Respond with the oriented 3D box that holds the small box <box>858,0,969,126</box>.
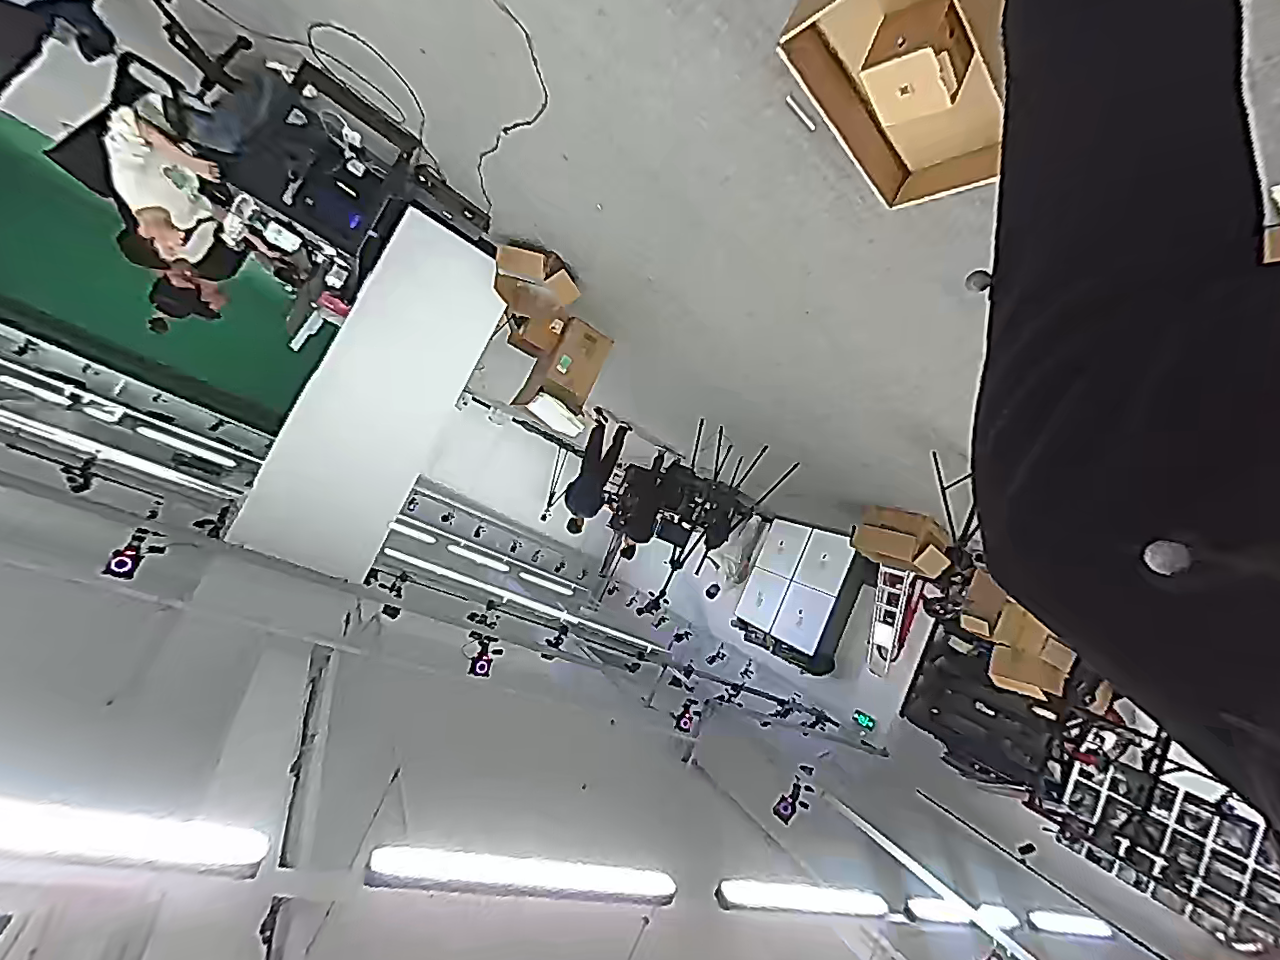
[{"bbox_3d":[0.658,-1.001,1.288,0.168,0.176,0.179,30,172,-42],"label":"small box"}]
